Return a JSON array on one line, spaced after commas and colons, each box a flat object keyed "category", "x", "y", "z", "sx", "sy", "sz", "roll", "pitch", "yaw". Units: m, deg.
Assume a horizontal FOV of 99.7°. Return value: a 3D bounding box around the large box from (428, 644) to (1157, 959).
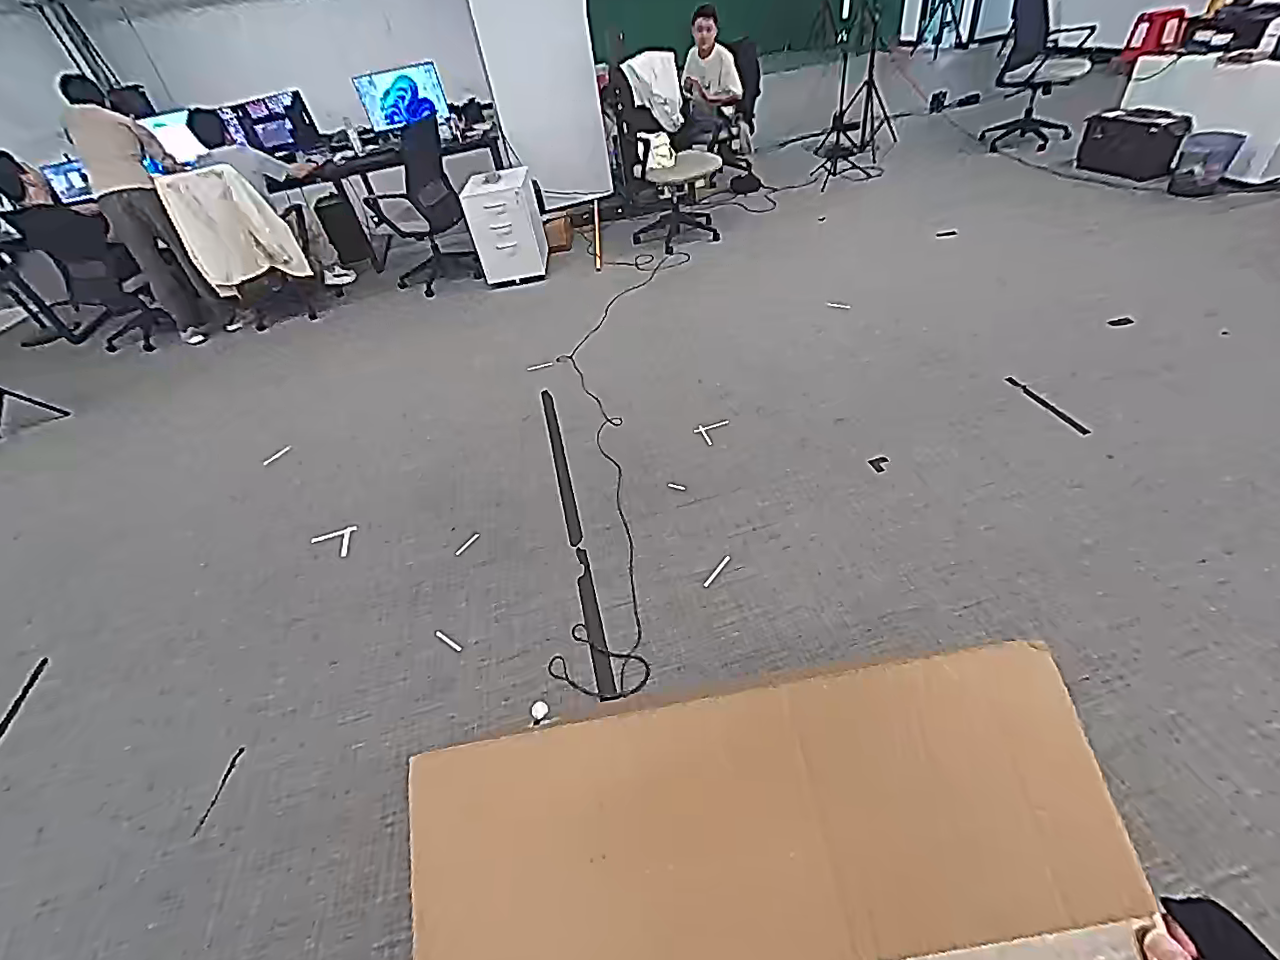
[{"category": "large box", "x": 0.092, "y": 0.338, "z": 0.437, "sx": 0.408, "sy": 0.320, "sz": 0.320, "roll": -11, "pitch": 70, "yaw": 0}]
